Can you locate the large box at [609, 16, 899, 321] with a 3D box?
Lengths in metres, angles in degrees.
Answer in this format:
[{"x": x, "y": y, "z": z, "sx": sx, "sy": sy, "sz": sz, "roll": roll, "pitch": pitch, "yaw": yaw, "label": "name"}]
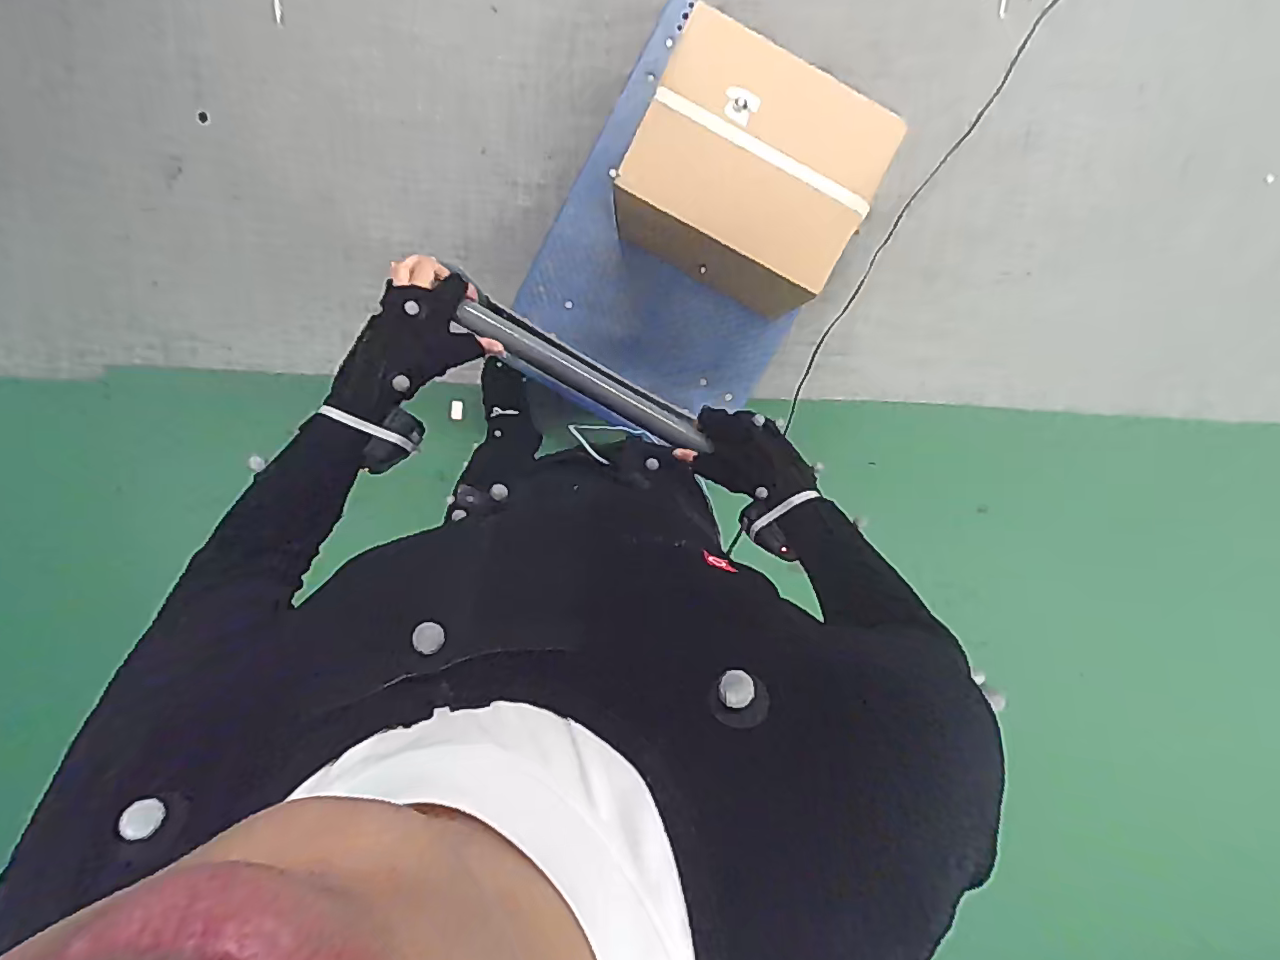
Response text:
[{"x": 0.193, "y": -0.556, "z": 1.054, "sx": 0.408, "sy": 0.320, "sz": 0.320, "roll": 28, "pitch": 96, "yaw": -3, "label": "large box"}]
